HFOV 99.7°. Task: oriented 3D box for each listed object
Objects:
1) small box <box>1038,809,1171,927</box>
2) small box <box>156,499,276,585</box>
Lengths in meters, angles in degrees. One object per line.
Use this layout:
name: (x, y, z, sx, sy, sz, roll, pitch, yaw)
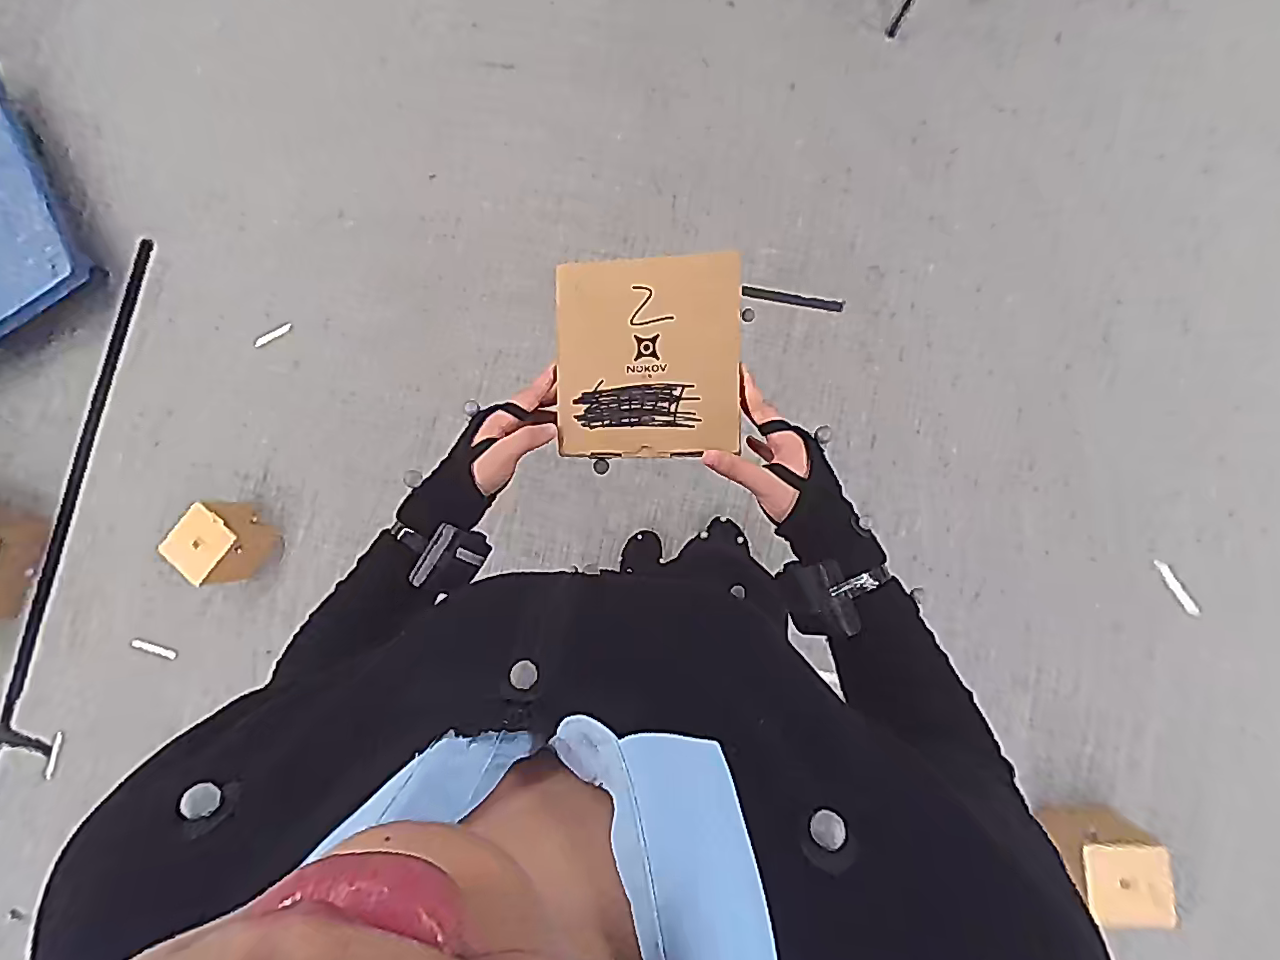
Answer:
small box: (1.065, 0.893, 1.260, 0.179, 0.176, 0.168, -2, 85, 5)
small box: (-1.194, 0.173, 1.538, 0.168, 0.176, 0.179, 39, 90, 7)
